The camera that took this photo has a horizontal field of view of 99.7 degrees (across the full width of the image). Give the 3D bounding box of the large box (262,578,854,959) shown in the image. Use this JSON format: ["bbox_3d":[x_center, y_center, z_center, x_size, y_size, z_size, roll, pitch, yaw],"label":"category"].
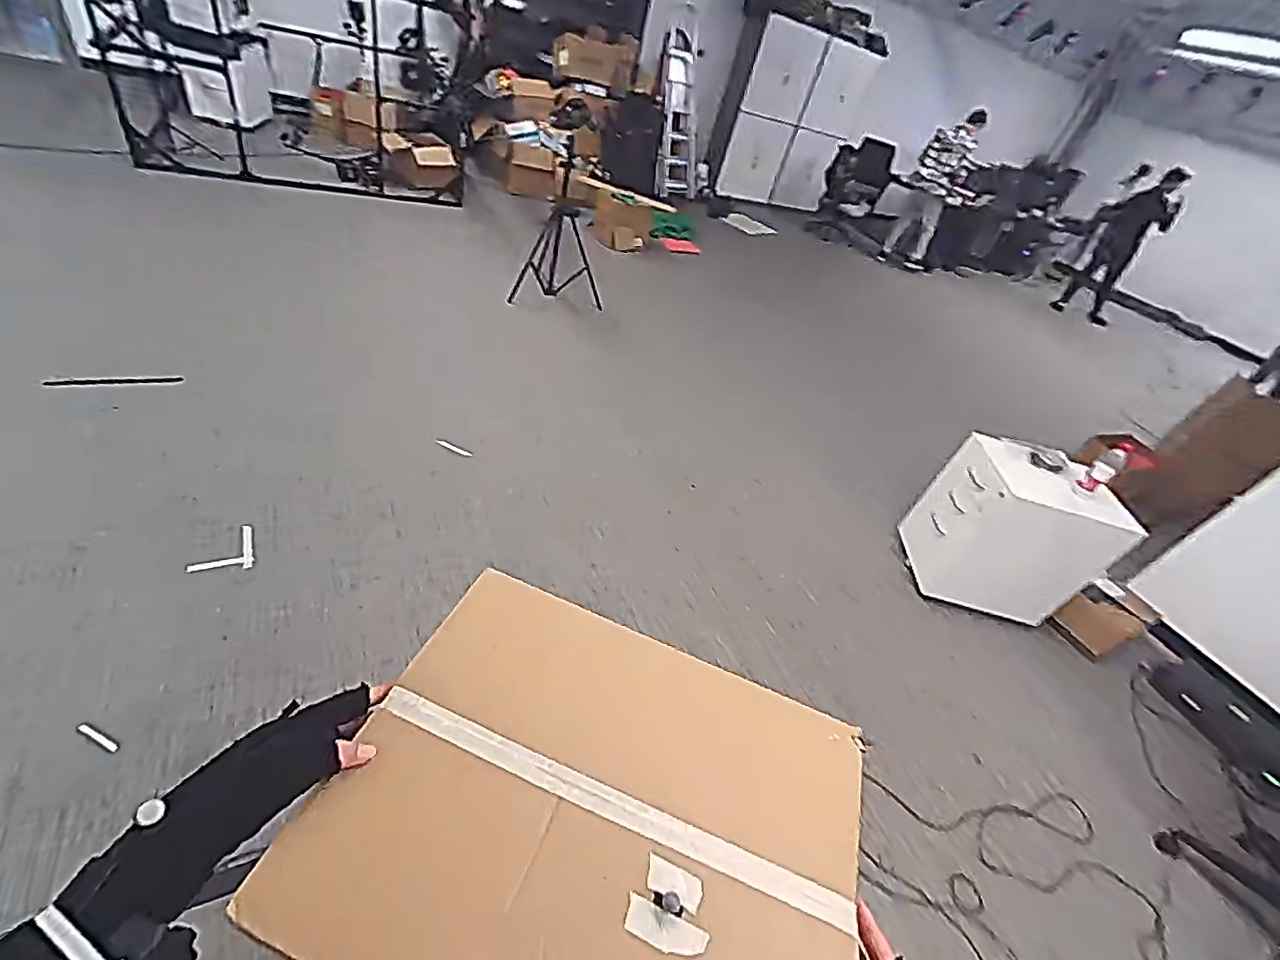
[{"bbox_3d":[-0.053,0.369,0.542,0.408,0.320,0.320,22,43,8],"label":"large box"}]
